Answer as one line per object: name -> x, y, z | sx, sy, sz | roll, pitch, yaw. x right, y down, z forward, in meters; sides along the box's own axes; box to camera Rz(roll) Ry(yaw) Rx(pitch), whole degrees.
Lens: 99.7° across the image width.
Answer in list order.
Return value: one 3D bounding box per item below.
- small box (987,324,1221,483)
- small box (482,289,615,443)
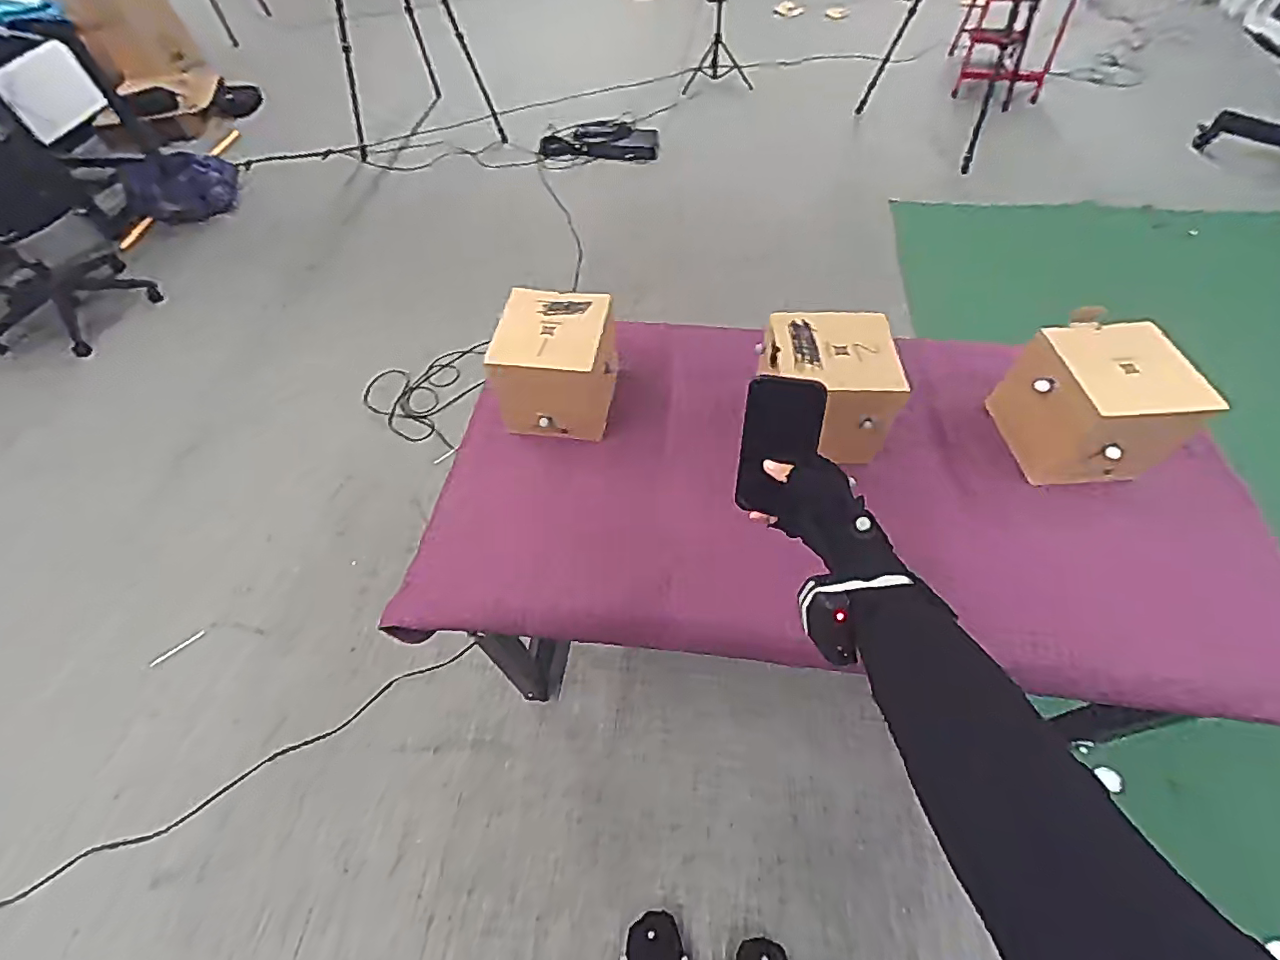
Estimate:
small box -> 0.669, -0.106, 0.809 | 0.168, 0.176, 0.179 | -4, 55, 0
small box -> -0.137, -0.186, 0.892 | 0.168, 0.176, 0.179 | 6, 58, 6
